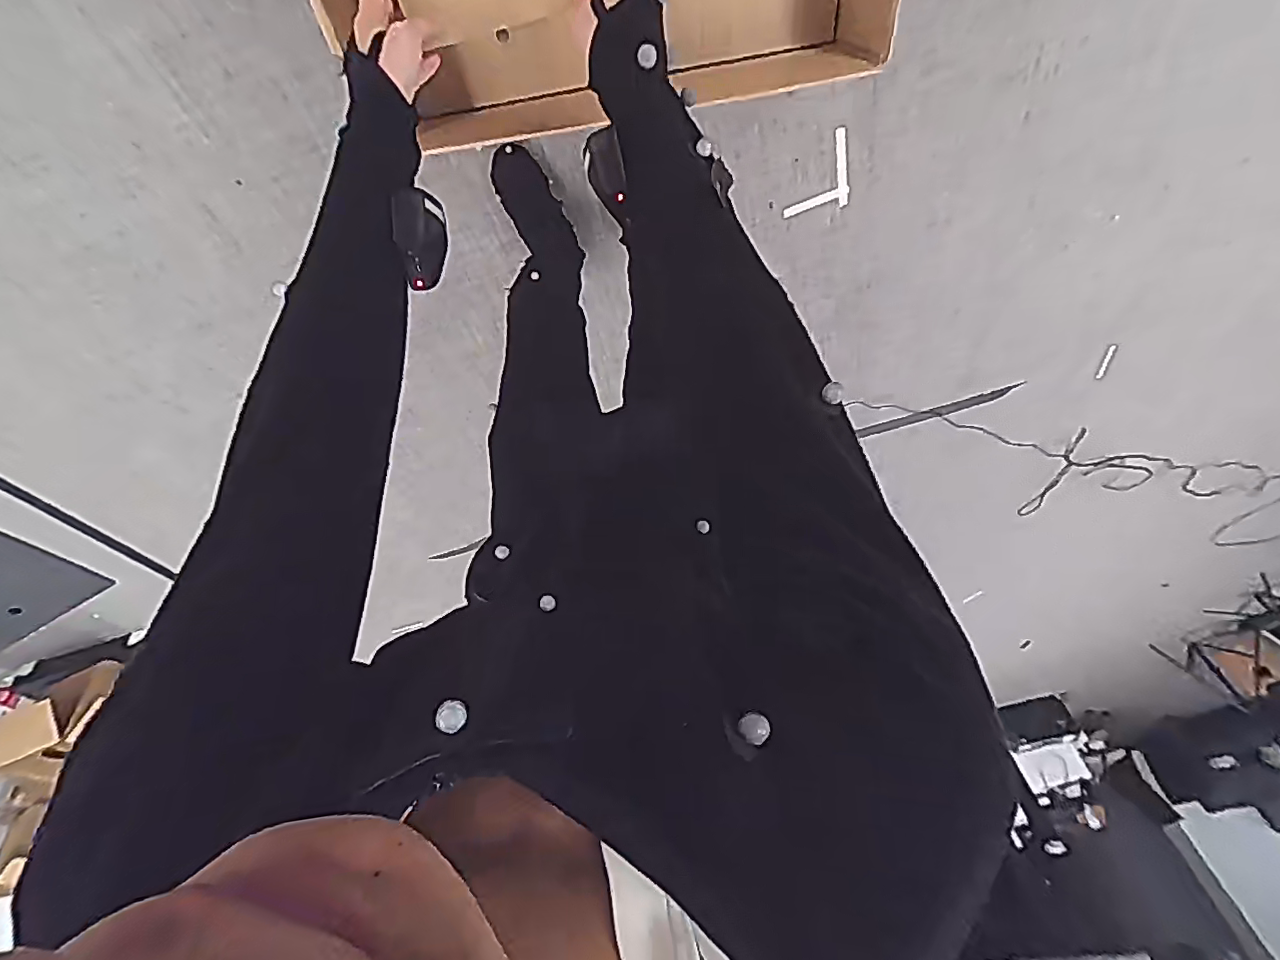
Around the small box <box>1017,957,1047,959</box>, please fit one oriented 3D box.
[{"bbox_3d":[1.346,1.769,1.864,0.179,0.176,0.168,-18,138,9],"label":"small box"}]

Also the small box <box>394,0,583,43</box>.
[{"bbox_3d":[-0.150,-0.535,0.491,0.179,0.176,0.168,-11,140,5],"label":"small box"}]
